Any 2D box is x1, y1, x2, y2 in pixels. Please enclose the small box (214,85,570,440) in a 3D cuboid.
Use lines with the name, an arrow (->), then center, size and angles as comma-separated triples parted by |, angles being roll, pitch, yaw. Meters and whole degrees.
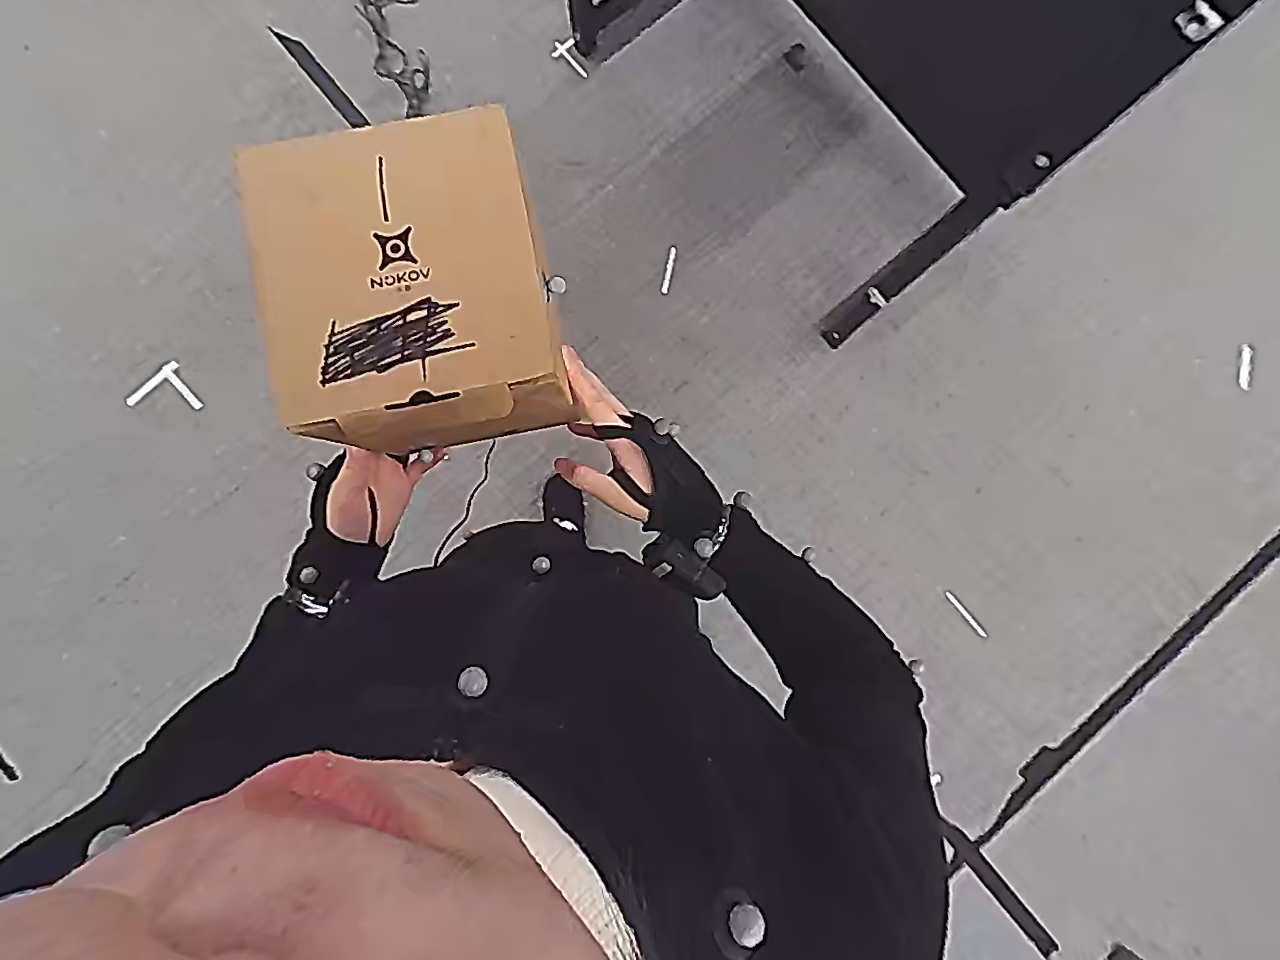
small box -> -0.152, -0.130, 0.394 | 0.168, 0.176, 0.179 | -12, 88, -2
